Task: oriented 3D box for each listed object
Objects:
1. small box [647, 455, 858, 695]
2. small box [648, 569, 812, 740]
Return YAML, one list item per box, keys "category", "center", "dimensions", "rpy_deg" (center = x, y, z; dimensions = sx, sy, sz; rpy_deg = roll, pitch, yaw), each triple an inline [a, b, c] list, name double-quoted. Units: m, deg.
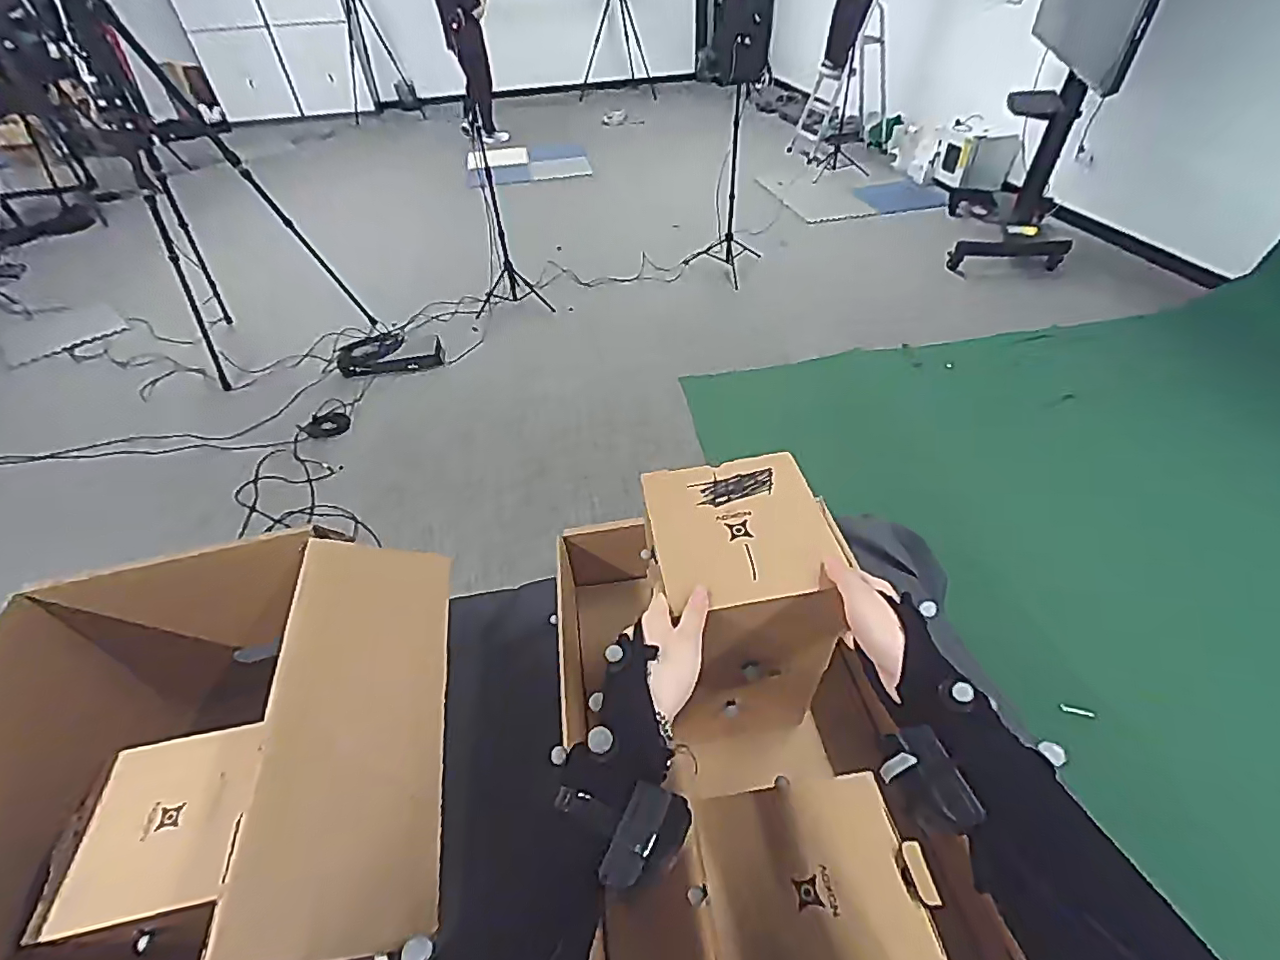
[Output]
- category: "small box"
  center: [0.102, 0.100, 0.575]
  dimensions: [0.168, 0.176, 0.179]
  rpy_deg: [-9, 46, -3]
- category: "small box"
  center: [0.112, 0.214, 0.695]
  dimensions: [0.179, 0.176, 0.168]
  rpy_deg: [-9, 46, -3]
